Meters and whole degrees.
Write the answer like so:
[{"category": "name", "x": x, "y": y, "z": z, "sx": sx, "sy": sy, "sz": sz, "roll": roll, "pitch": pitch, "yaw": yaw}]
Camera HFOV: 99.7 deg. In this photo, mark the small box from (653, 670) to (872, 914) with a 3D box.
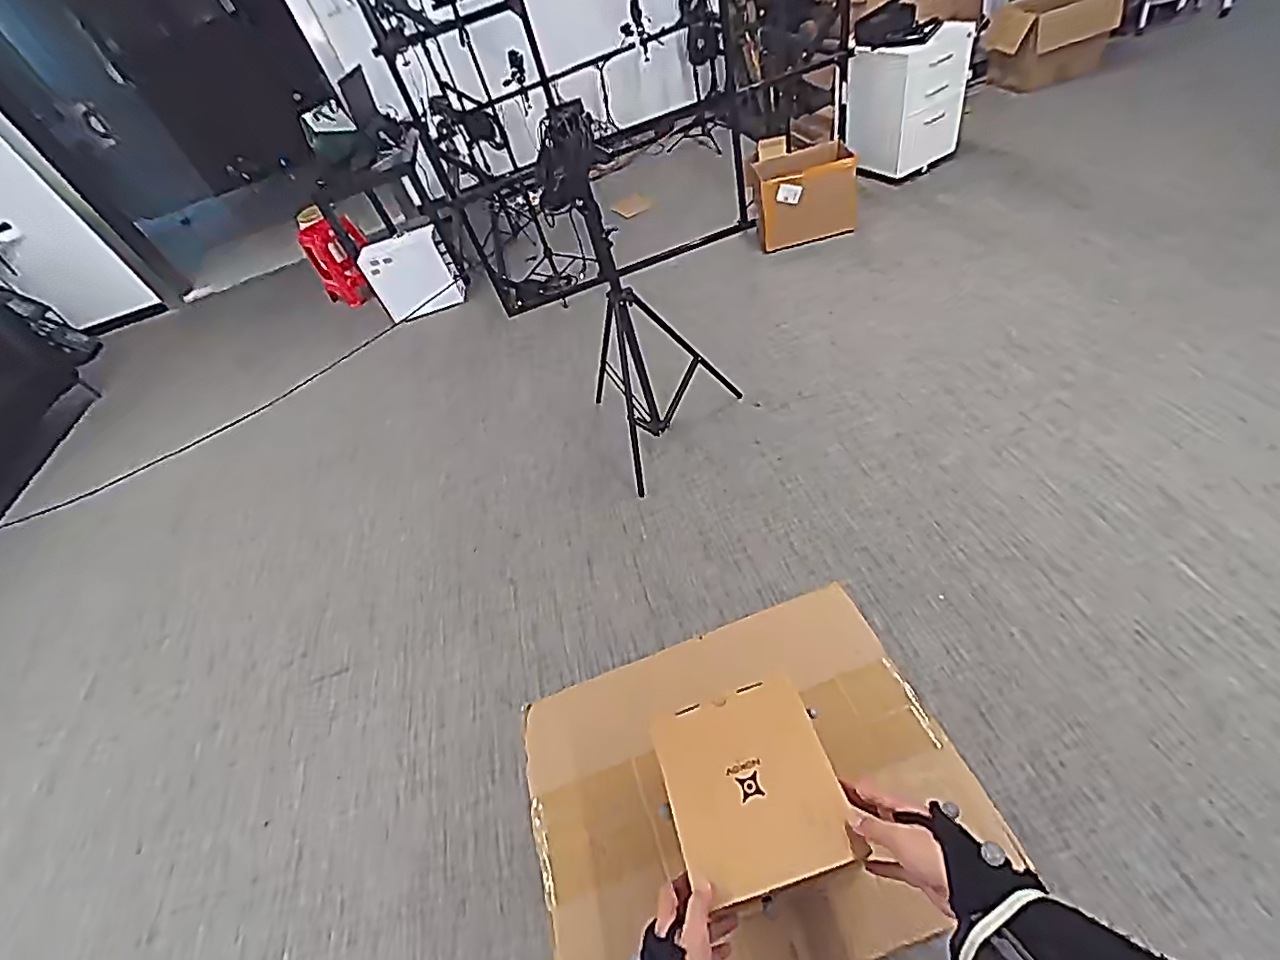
[{"category": "small box", "x": 0.130, "y": 0.343, "z": 0.588, "sx": 0.168, "sy": 0.176, "sz": 0.179, "roll": -20, "pitch": 45, "yaw": 0}]
